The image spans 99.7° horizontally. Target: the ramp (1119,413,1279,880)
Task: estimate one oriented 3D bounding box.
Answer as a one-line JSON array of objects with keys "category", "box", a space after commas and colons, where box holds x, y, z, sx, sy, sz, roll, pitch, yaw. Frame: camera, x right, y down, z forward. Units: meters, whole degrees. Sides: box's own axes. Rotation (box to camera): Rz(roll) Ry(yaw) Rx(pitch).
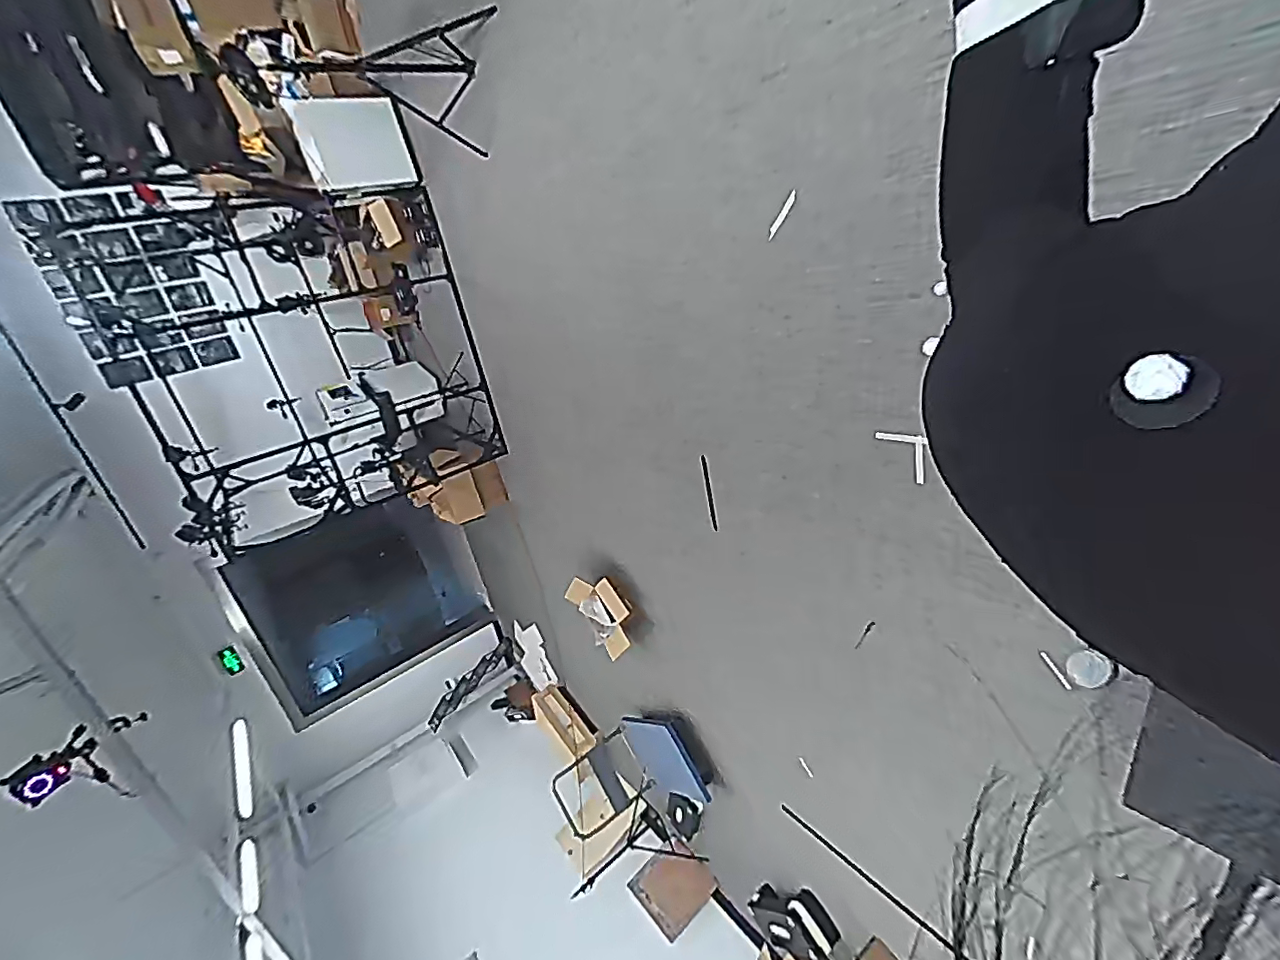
[{"category": "ramp", "box": [1.350, 0.385, 1.056, 0.509, 0.206, 0.991, 18, 126, 52]}]
